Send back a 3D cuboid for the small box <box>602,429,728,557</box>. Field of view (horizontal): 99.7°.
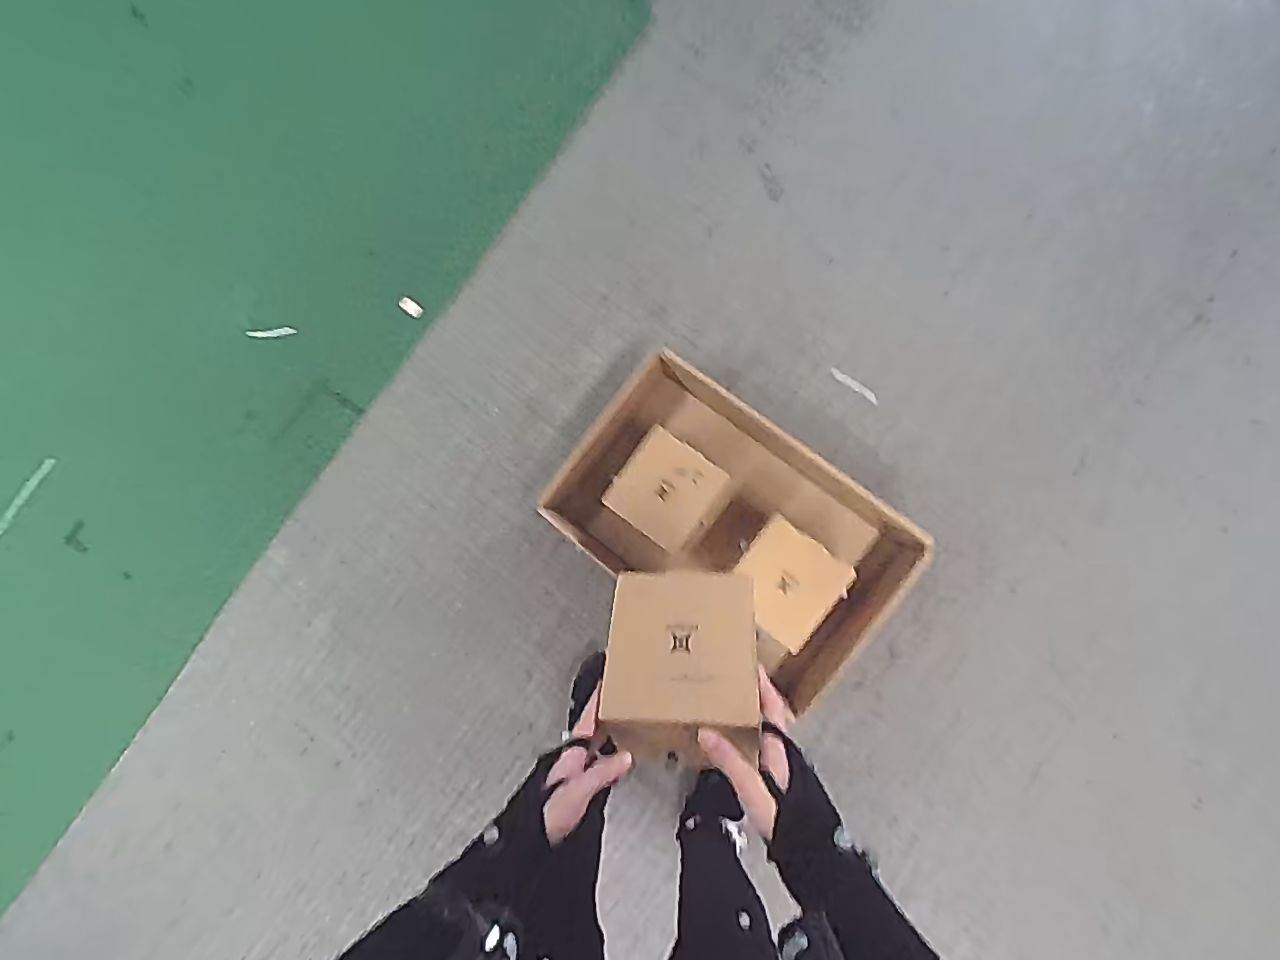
[{"bbox_3d":[0.054,0.028,1.046,0.168,0.176,0.179,37,90,8],"label":"small box"}]

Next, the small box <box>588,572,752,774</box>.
[{"bbox_3d":[0.046,0.228,0.645,0.168,0.176,0.179,-2,48,10],"label":"small box"}]

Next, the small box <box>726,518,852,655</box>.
[{"bbox_3d":[0.258,0.190,1.004,0.168,0.176,0.179,38,90,10],"label":"small box"}]
